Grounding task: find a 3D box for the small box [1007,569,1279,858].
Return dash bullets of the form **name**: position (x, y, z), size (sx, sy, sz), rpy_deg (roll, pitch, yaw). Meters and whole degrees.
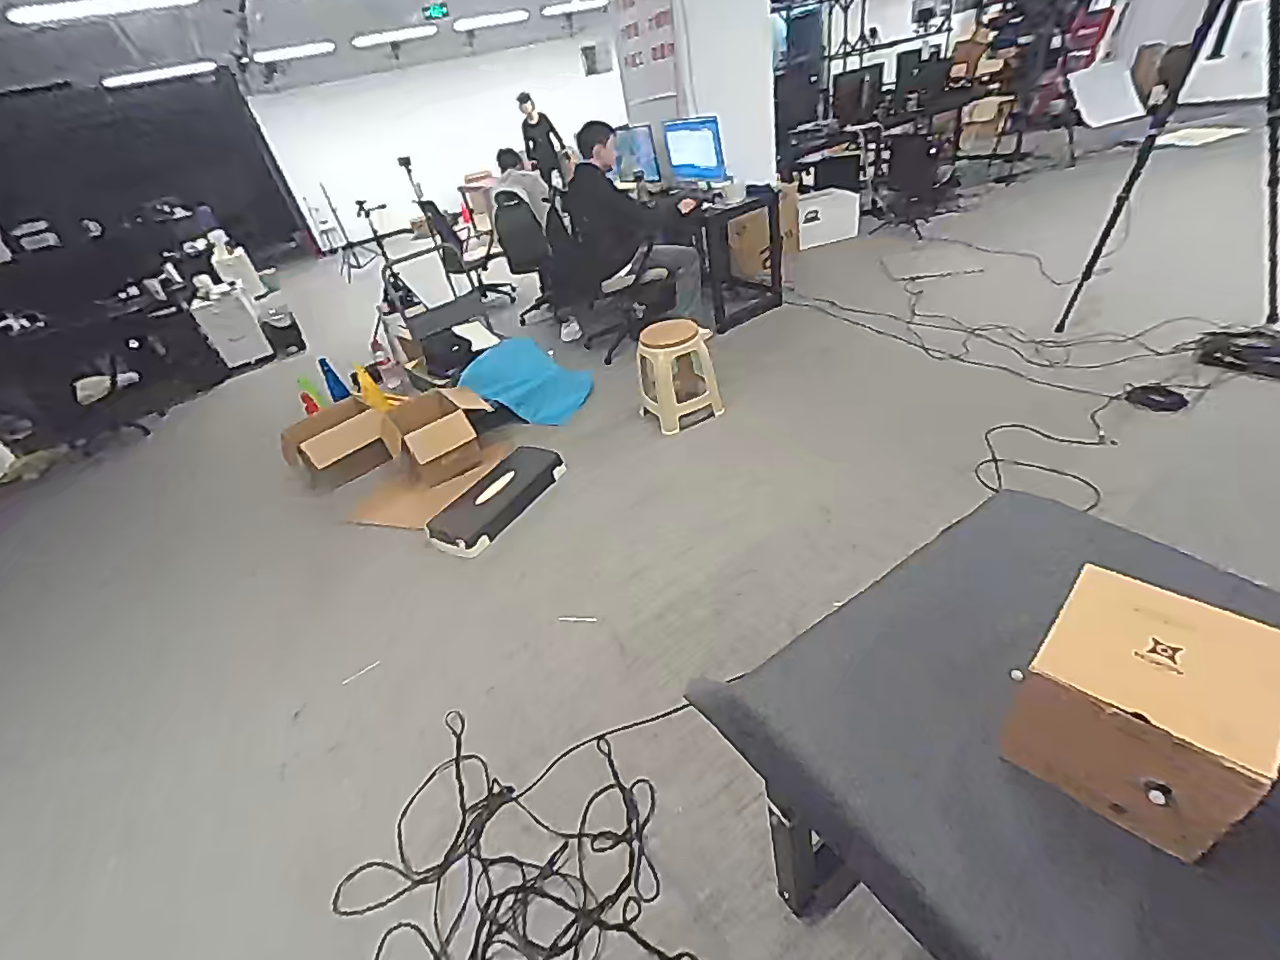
- **small box**: position (0.506, 0.232, 0.553), size (0.179, 0.176, 0.168), rpy_deg (-35, 41, -30)
